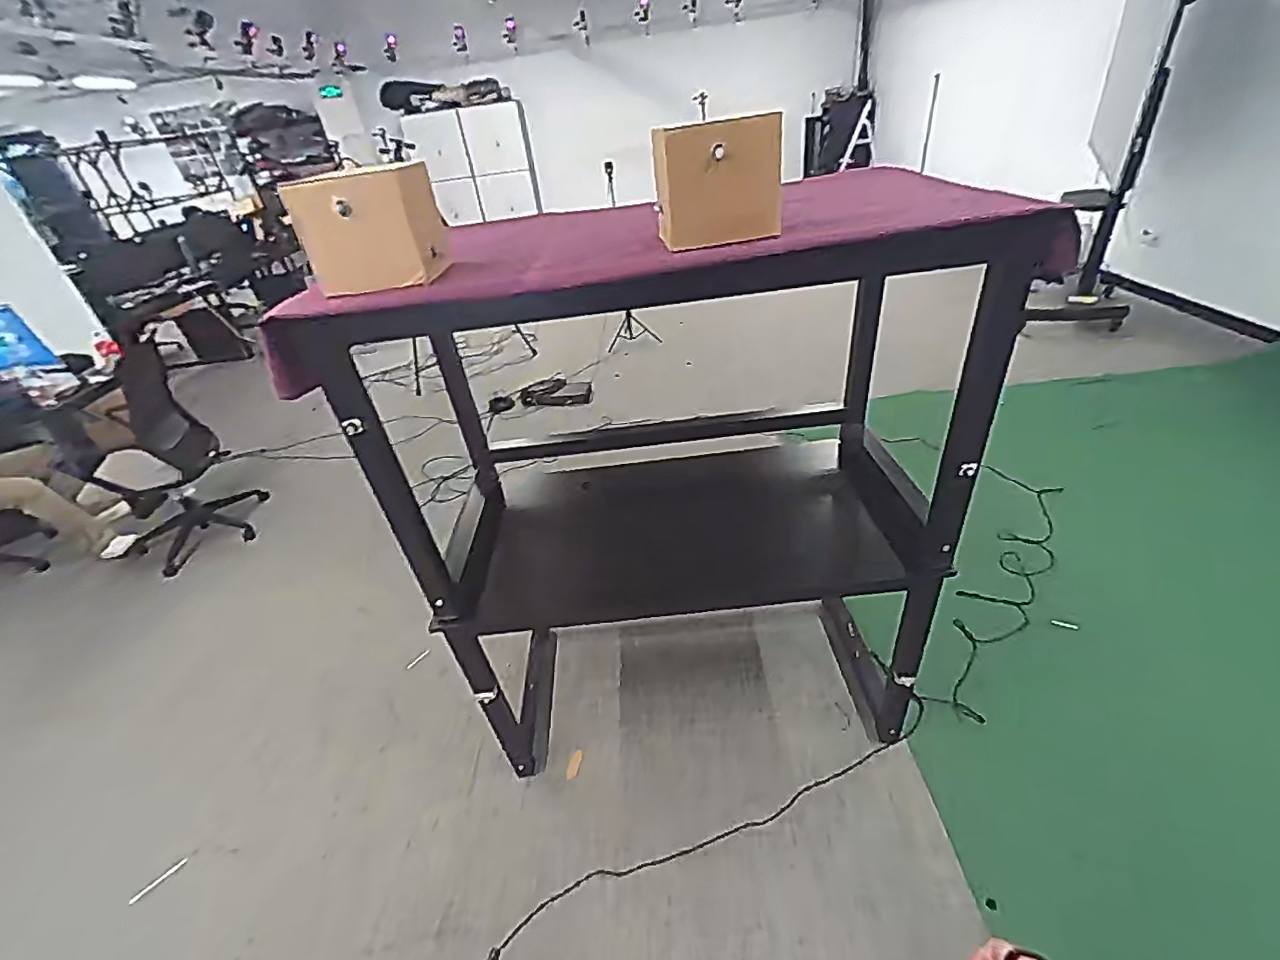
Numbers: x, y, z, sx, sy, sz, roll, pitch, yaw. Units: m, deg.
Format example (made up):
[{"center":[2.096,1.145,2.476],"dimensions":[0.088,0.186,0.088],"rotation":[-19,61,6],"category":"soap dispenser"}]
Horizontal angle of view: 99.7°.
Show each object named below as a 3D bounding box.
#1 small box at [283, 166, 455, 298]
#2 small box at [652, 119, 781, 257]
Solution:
[{"center":[-0.432,-0.410,0.896],"dimensions":[0.179,0.176,0.168],"rotation":[-6,34,1],"category":"small box"},{"center":[0.121,-0.478,0.884],"dimensions":[0.179,0.176,0.168],"rotation":[-10,33,0],"category":"small box"}]
